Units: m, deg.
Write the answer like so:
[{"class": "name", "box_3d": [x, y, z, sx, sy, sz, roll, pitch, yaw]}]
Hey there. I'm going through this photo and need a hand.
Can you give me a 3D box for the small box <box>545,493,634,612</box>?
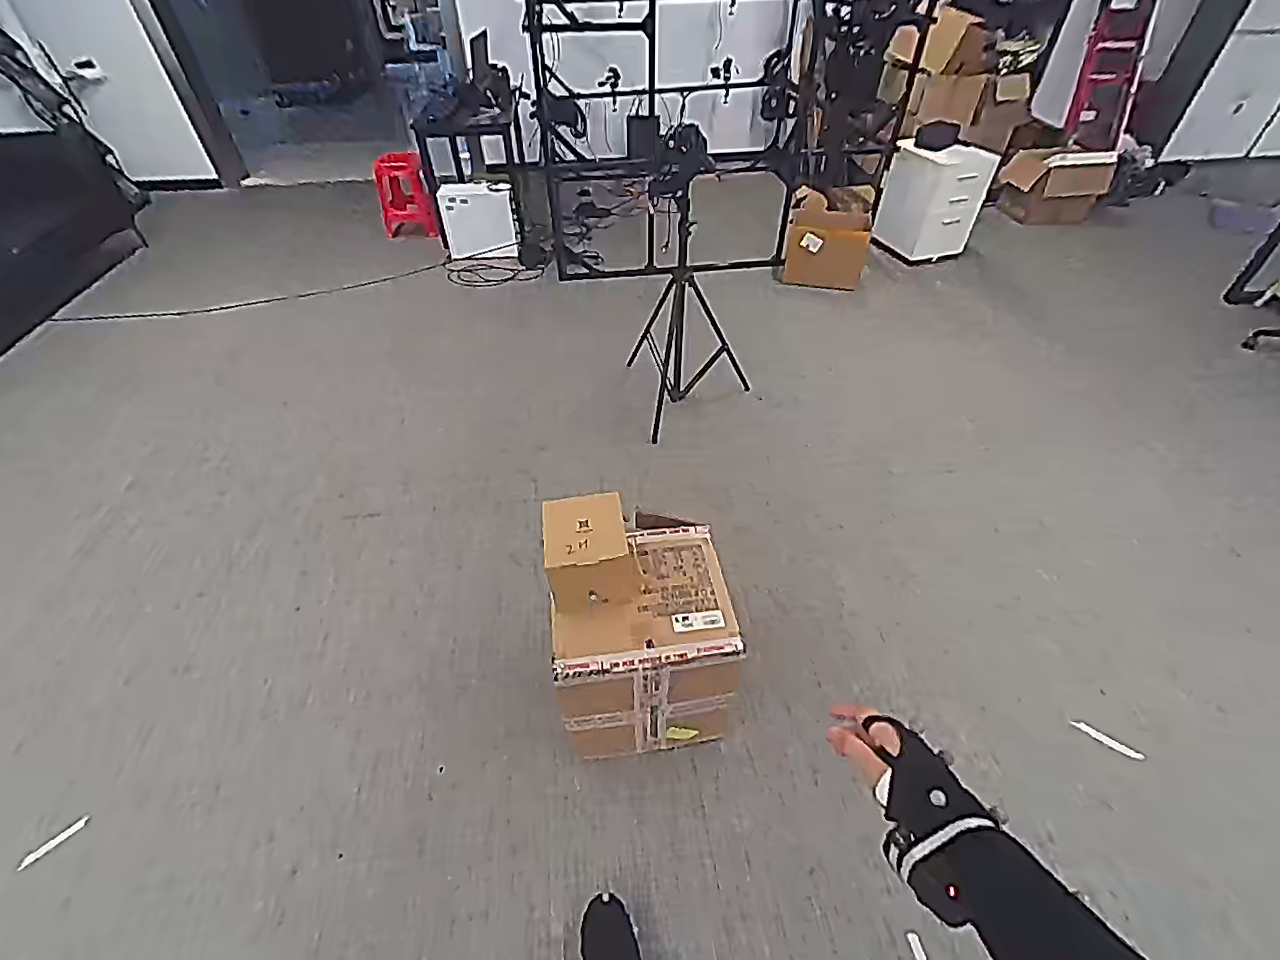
[{"class": "small box", "box_3d": [-0.107, 0.155, 1.157, 0.168, 0.176, 0.179, -9, 47, -4]}]
